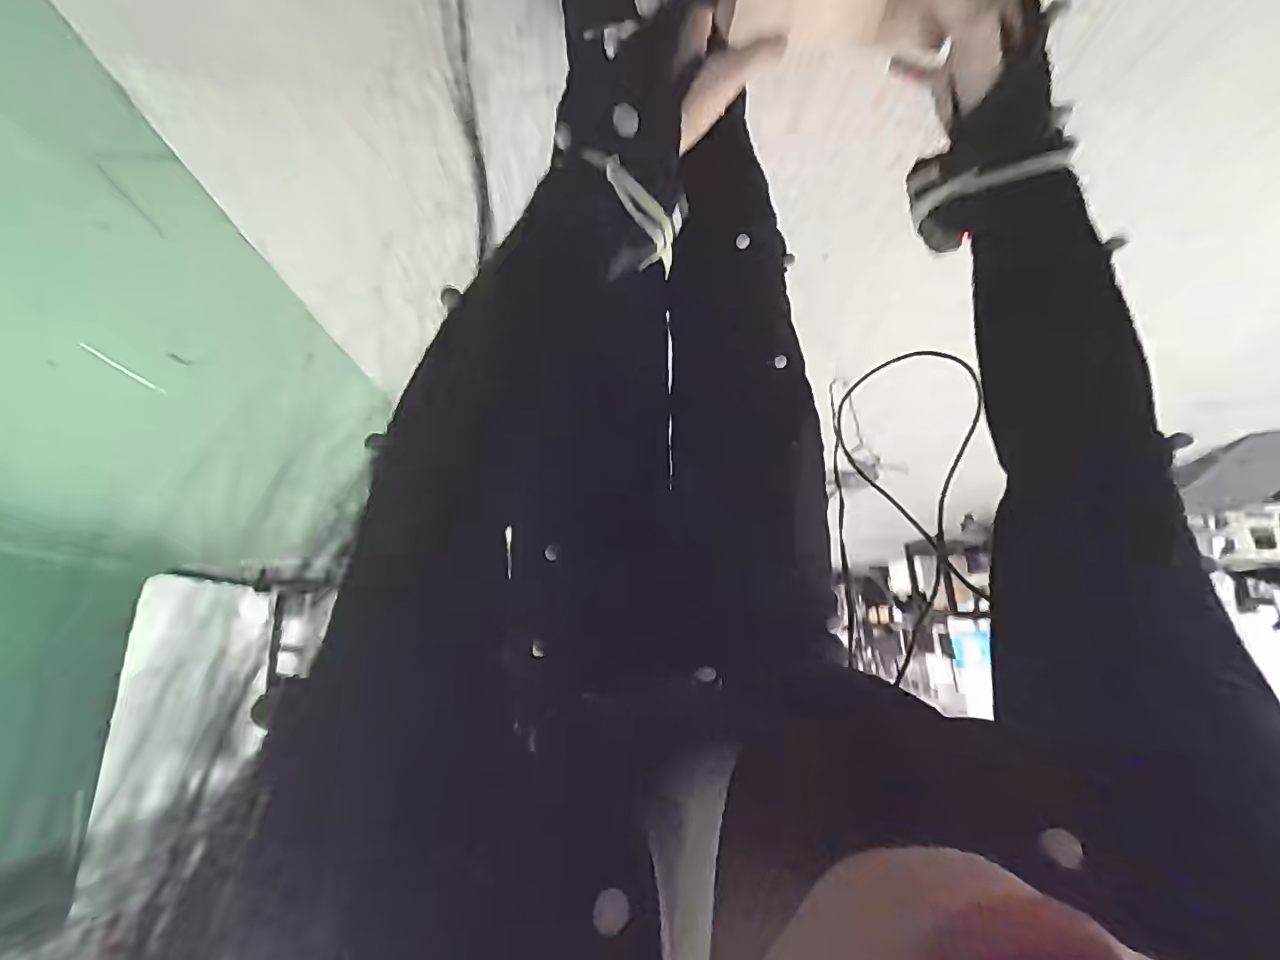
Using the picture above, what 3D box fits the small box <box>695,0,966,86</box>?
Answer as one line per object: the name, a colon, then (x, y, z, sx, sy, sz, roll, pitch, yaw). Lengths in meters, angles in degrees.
small box: (0.132, -0.404, 0.358, 0.168, 0.176, 0.179, -4, 151, -9)
